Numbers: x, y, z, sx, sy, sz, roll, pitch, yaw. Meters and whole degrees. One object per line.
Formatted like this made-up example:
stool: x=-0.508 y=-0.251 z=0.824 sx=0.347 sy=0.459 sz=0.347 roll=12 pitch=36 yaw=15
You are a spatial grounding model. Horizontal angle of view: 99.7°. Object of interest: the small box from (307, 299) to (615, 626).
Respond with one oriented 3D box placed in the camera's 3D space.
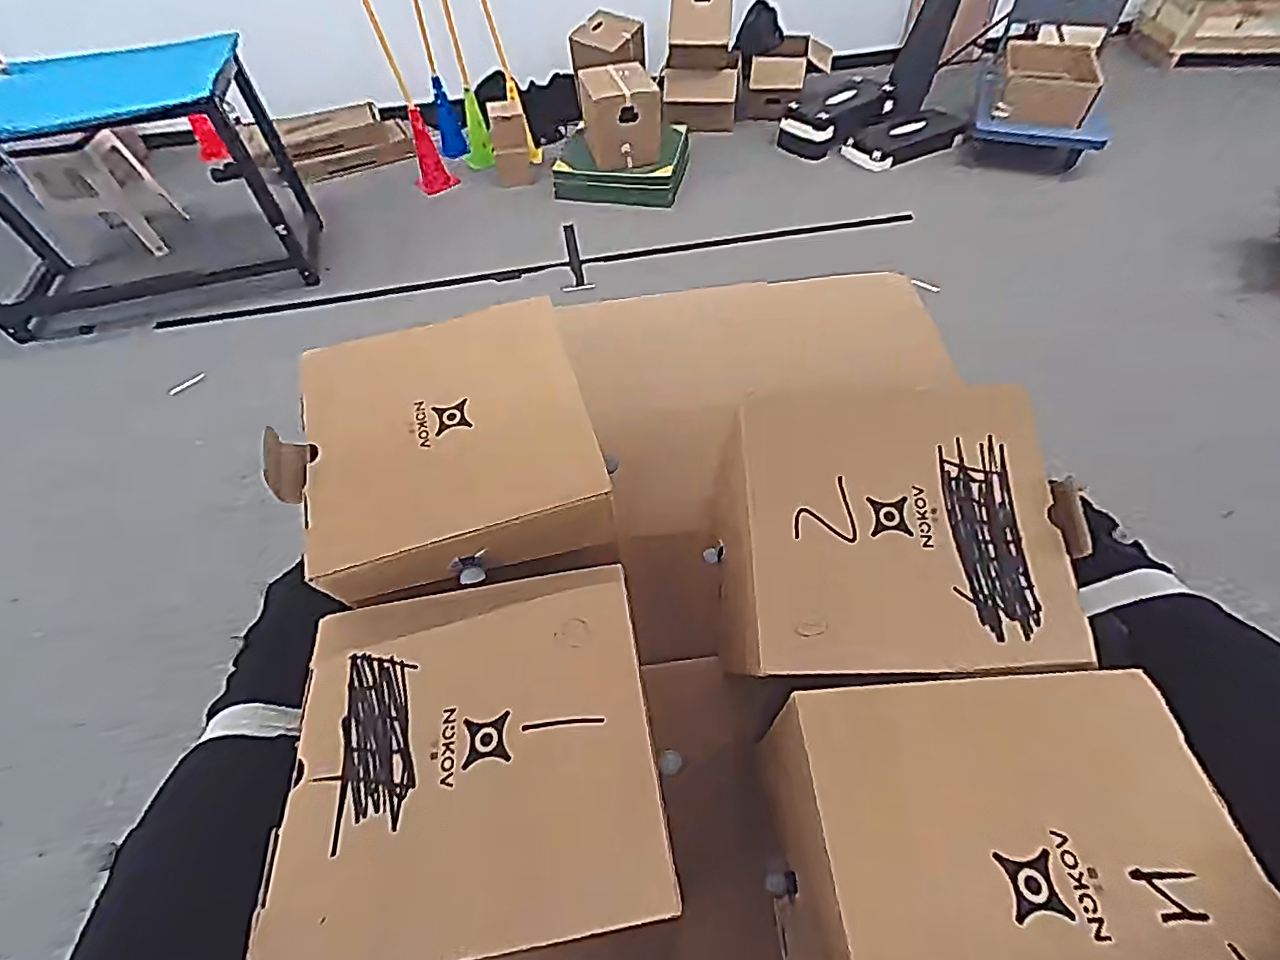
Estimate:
small box: x=-0.122 y=-0.004 z=0.420 sx=0.179 sy=0.176 sz=0.168 roll=-17 pitch=63 yaw=-6
